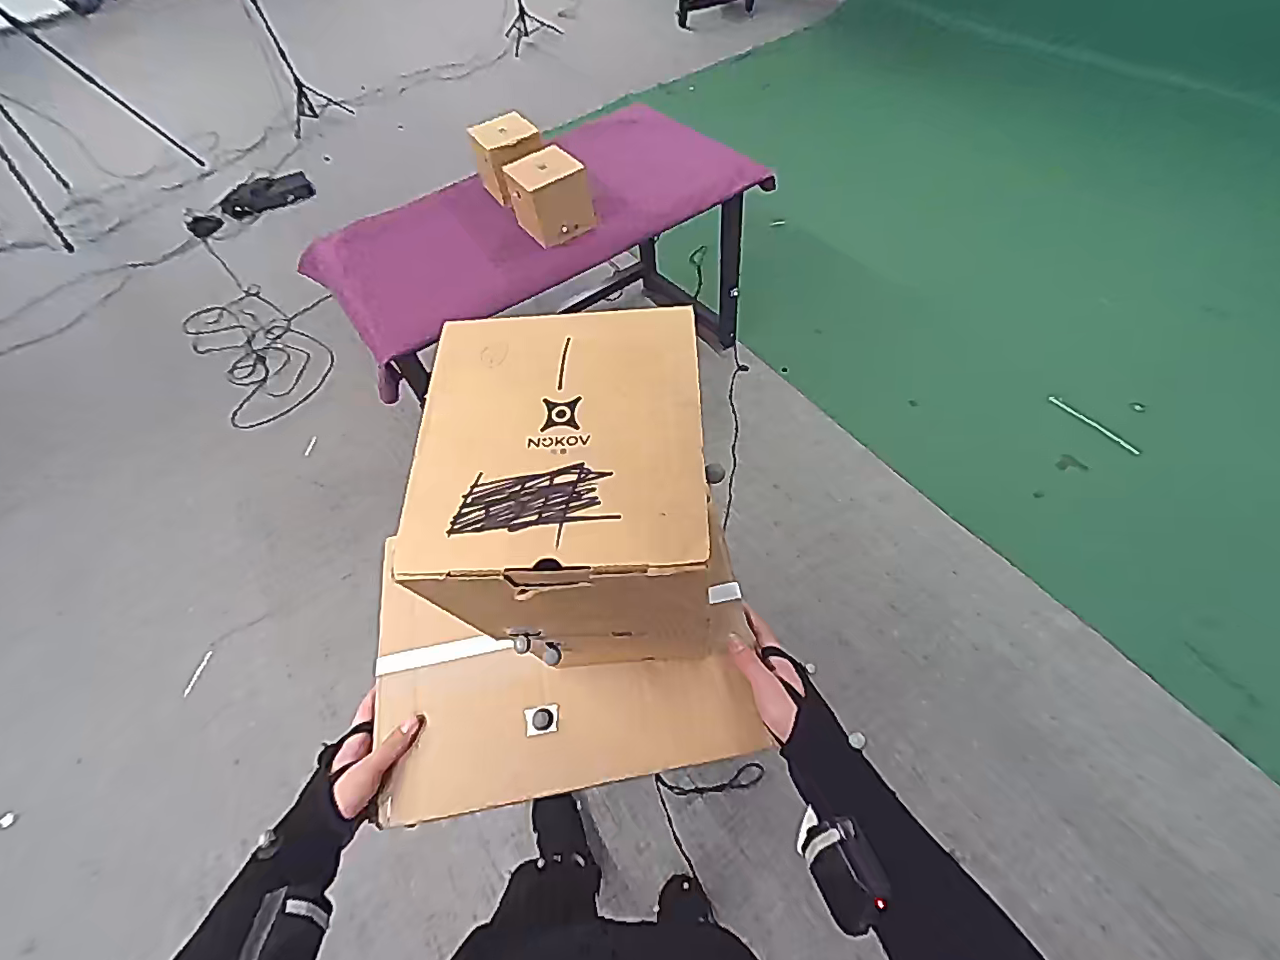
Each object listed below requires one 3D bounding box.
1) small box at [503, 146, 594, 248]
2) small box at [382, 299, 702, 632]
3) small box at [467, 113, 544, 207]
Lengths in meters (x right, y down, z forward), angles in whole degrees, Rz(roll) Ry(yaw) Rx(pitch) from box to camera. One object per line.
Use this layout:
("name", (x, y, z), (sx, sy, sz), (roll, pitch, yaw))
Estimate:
("small box", (-0.245, -0.767, 1.471), (0.168, 0.176, 0.179), (-31, 57, -12))
("small box", (-0.042, 0.004, 0.374), (0.168, 0.176, 0.179), (-2, 62, 5))
("small box", (-0.386, -0.953, 1.616), (0.168, 0.176, 0.179), (-30, 59, -13))
